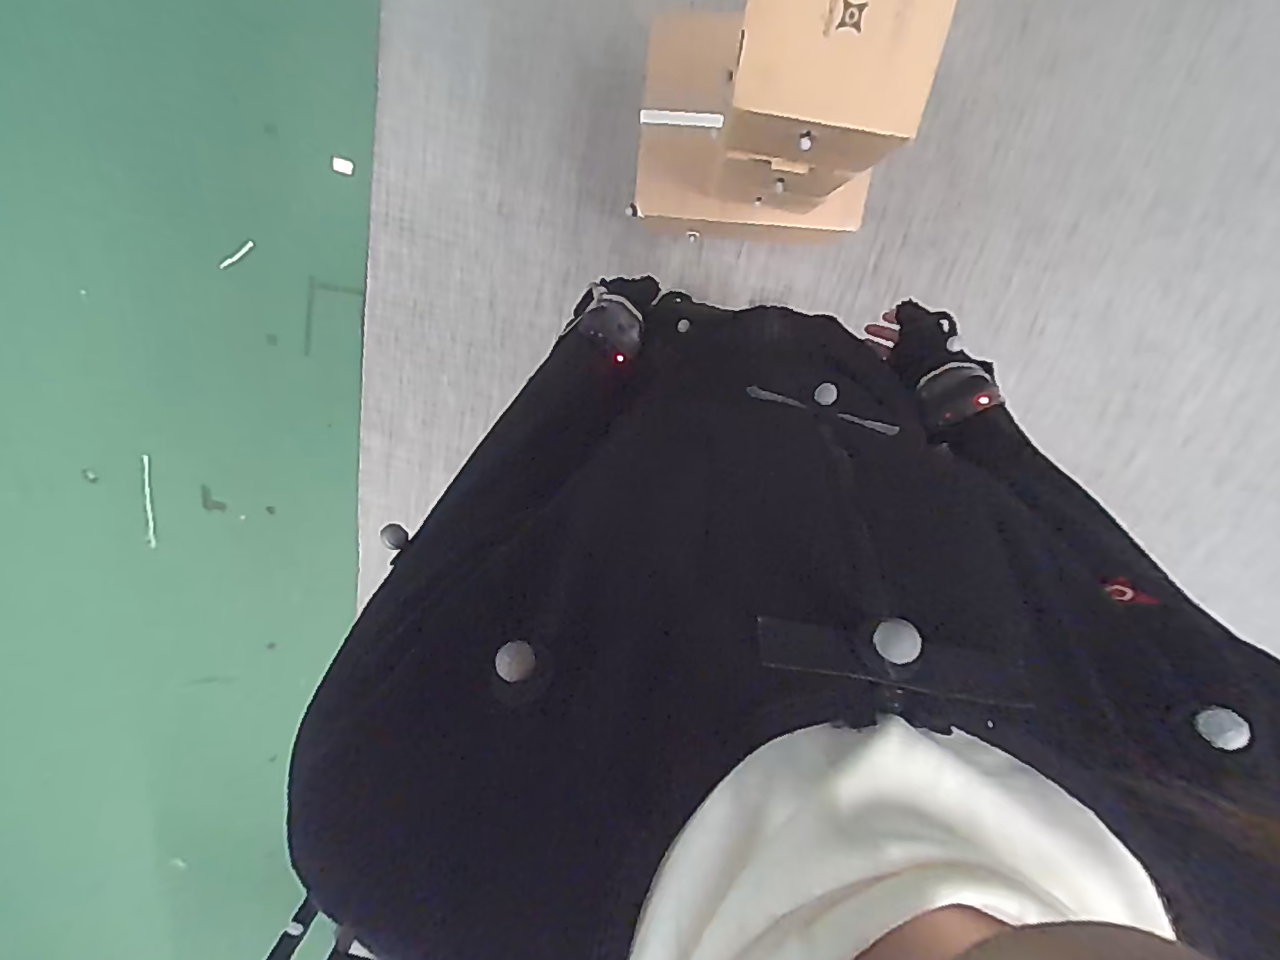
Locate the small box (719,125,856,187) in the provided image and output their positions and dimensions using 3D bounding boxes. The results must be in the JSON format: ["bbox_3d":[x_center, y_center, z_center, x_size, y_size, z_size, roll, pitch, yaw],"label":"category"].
[{"bbox_3d":[0.199,-0.491,0.693,0.168,0.176,0.179,10,111,2],"label":"small box"}]

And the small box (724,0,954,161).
[{"bbox_3d":[0.186,-0.436,0.540,0.179,0.176,0.168,11,112,1],"label":"small box"}]

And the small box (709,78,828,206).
[{"bbox_3d":[0.212,-0.540,0.848,0.179,0.176,0.168,12,111,3],"label":"small box"}]
